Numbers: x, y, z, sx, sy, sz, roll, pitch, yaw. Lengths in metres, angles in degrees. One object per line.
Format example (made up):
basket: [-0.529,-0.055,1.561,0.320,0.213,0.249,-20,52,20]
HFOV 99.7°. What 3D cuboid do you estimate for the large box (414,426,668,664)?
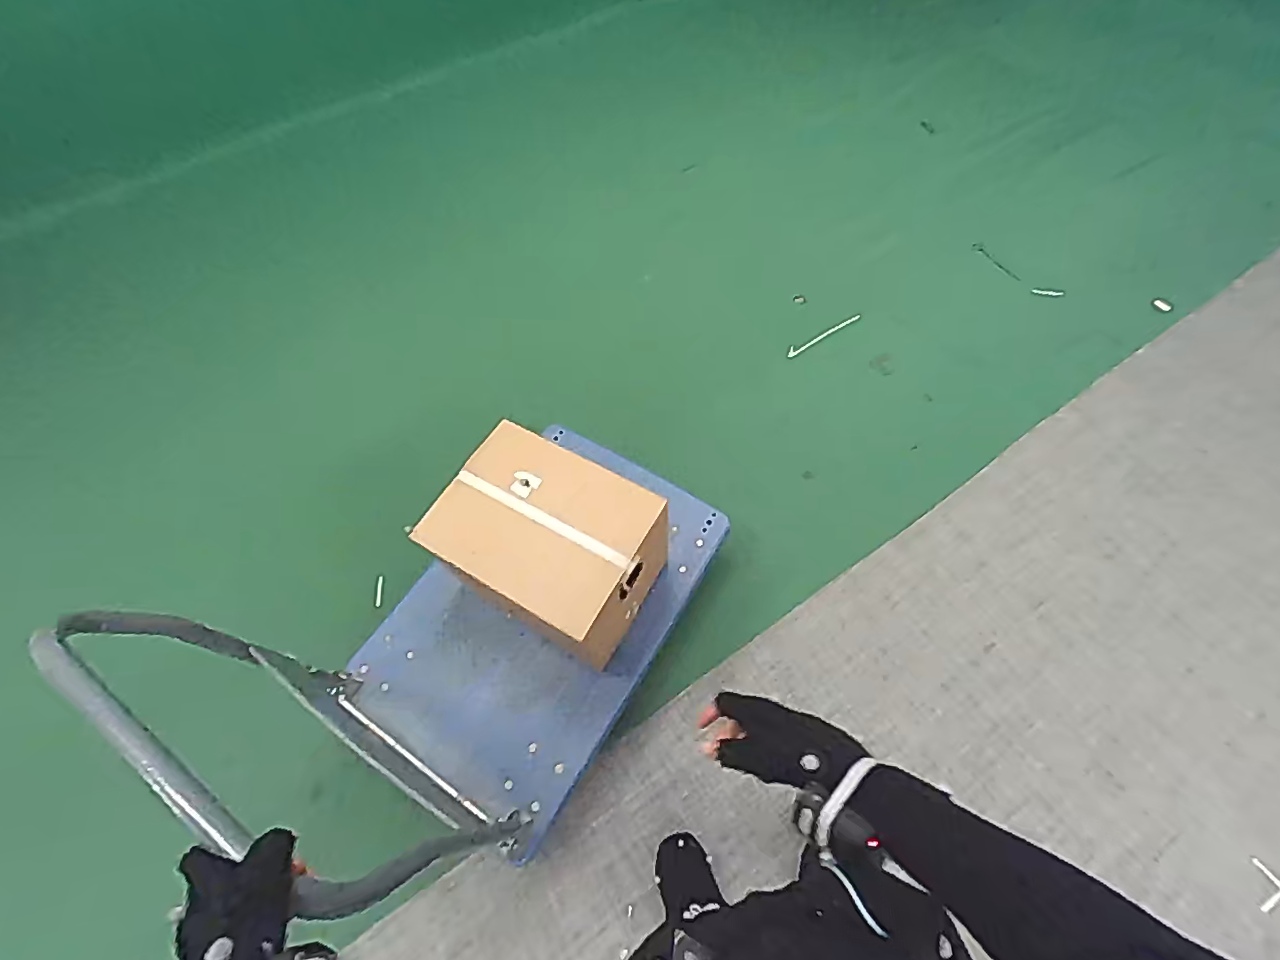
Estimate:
large box: [-0.185,0.149,1.183,0.408,0.320,0.320,26,66,17]
